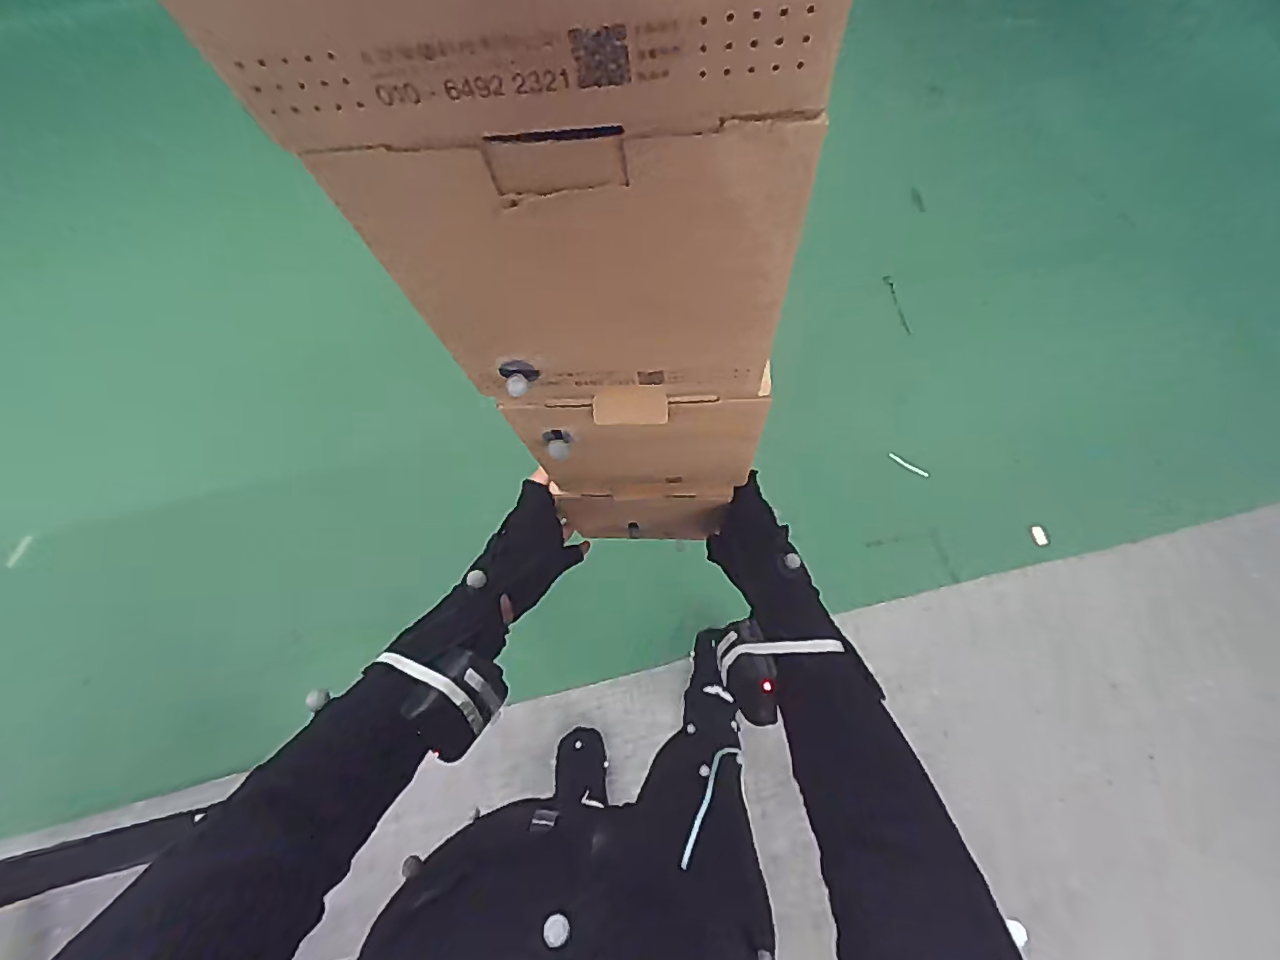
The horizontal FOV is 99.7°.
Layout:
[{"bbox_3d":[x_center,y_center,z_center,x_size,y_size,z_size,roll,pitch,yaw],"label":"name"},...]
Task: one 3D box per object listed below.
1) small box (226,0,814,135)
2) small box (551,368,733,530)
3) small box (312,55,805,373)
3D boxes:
[{"bbox_3d":[-0.039,-0.217,0.118,0.168,0.176,0.179,-2,72,5],"label":"small box"},{"bbox_3d":[0.010,-0.051,0.581,0.168,0.176,0.179,0,73,5],"label":"small box"},{"bbox_3d":[-0.020,-0.165,0.273,0.168,0.176,0.179,-1,71,5],"label":"small box"}]
